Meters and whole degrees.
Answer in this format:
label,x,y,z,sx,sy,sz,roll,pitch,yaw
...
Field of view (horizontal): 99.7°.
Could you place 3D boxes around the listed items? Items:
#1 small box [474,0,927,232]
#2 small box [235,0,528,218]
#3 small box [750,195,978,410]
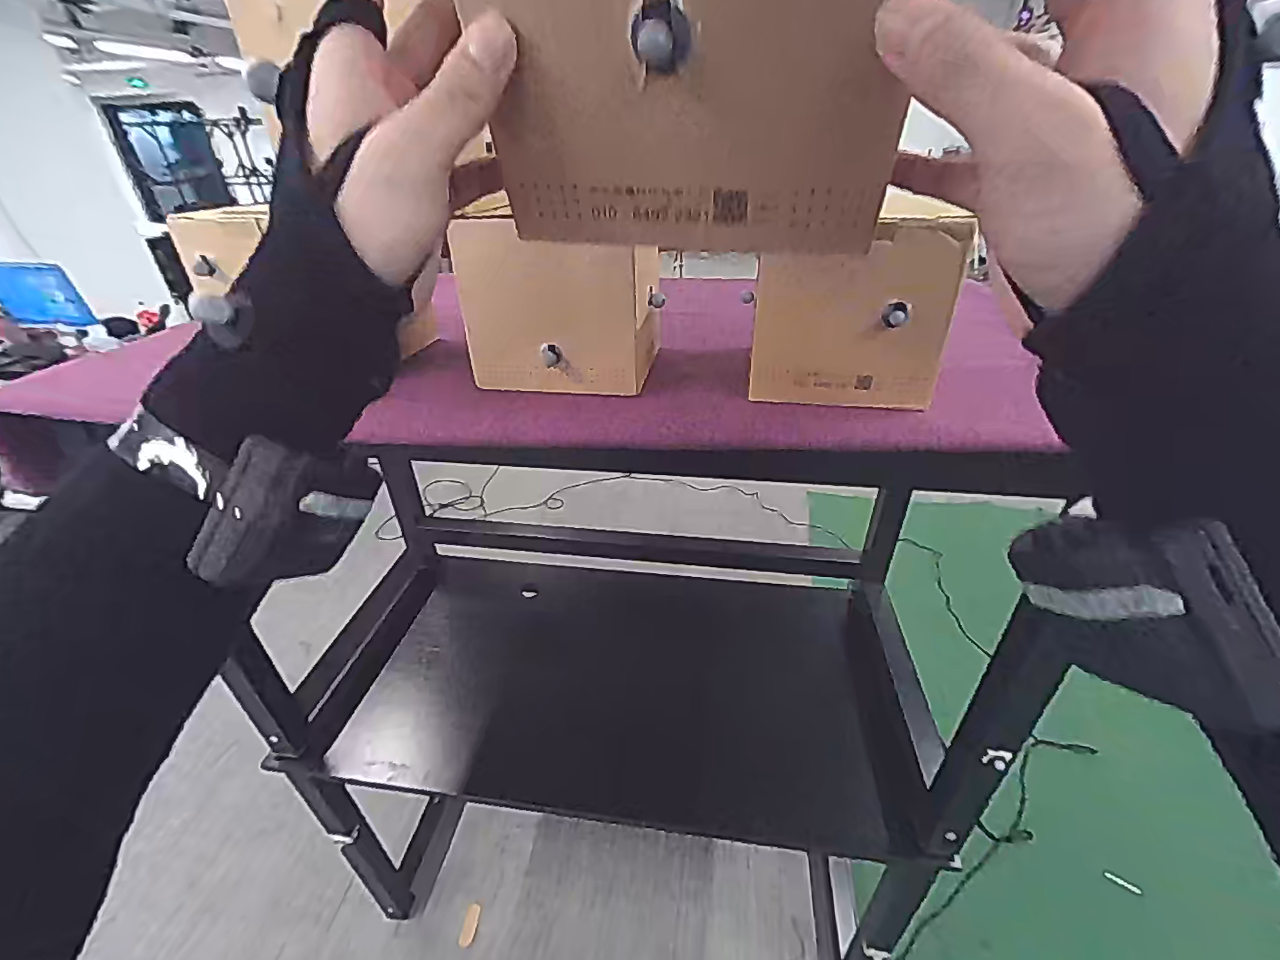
label,x,y,z,sx,sy,sz,roll,pitch,yaw
small box,0.034,-0.229,0.237,0.168,0.176,0.179,8,53,12
small box,-0.223,-0.348,0.515,0.179,0.176,0.168,5,32,10
small box,0.202,-0.179,0.537,0.168,0.176,0.179,6,33,12
